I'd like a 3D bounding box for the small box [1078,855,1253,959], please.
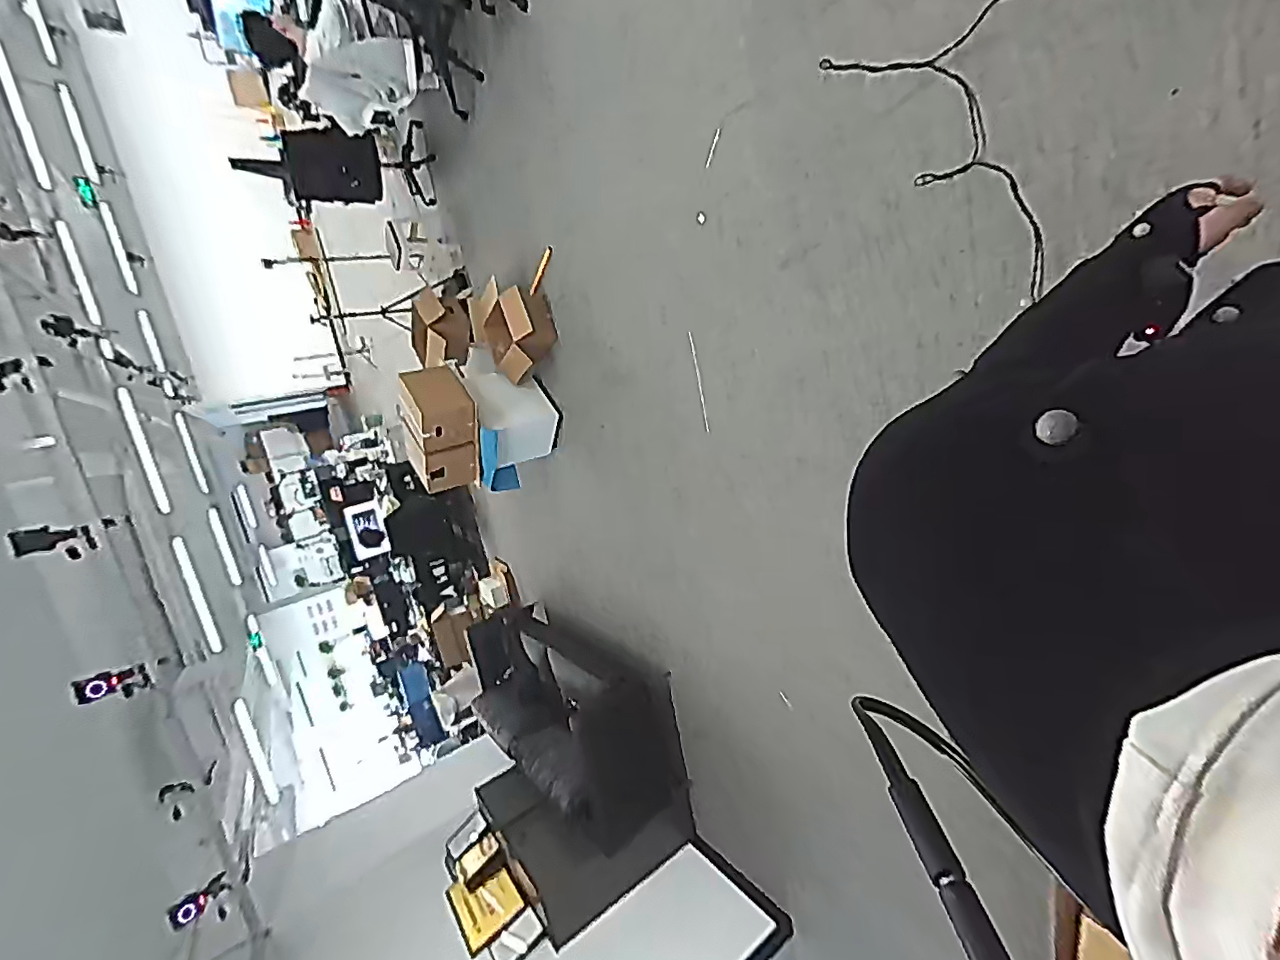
[{"bbox_3d":[0.890,0.792,0.923,0.179,0.176,0.168,13,118,53],"label":"small box"}]
